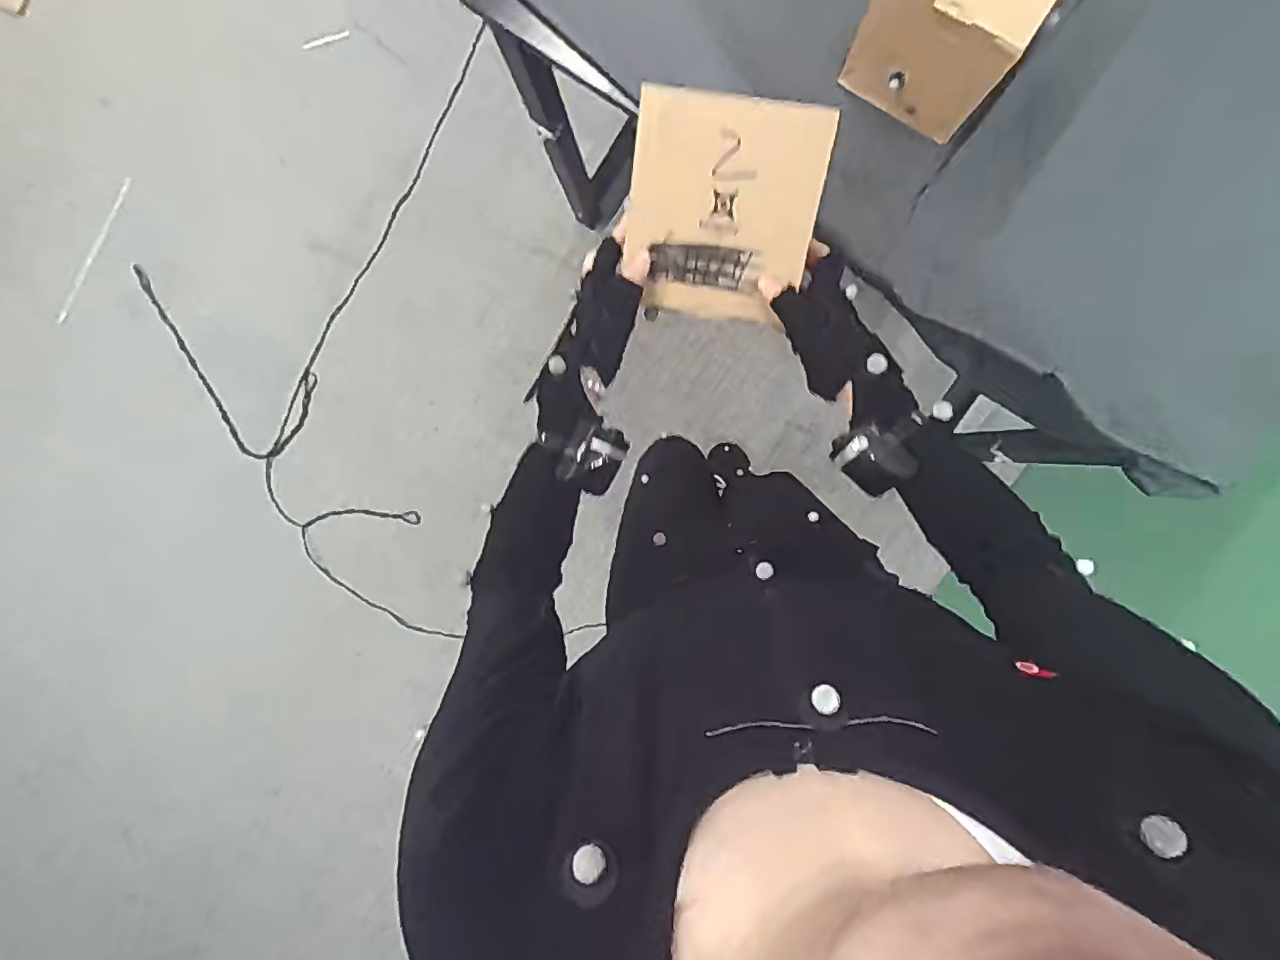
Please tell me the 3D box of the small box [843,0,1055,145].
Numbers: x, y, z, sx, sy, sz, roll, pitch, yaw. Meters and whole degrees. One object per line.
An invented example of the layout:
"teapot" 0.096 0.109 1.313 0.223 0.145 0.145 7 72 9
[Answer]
"small box" 0.370 -0.552 0.637 0.168 0.176 0.179 32 96 1
